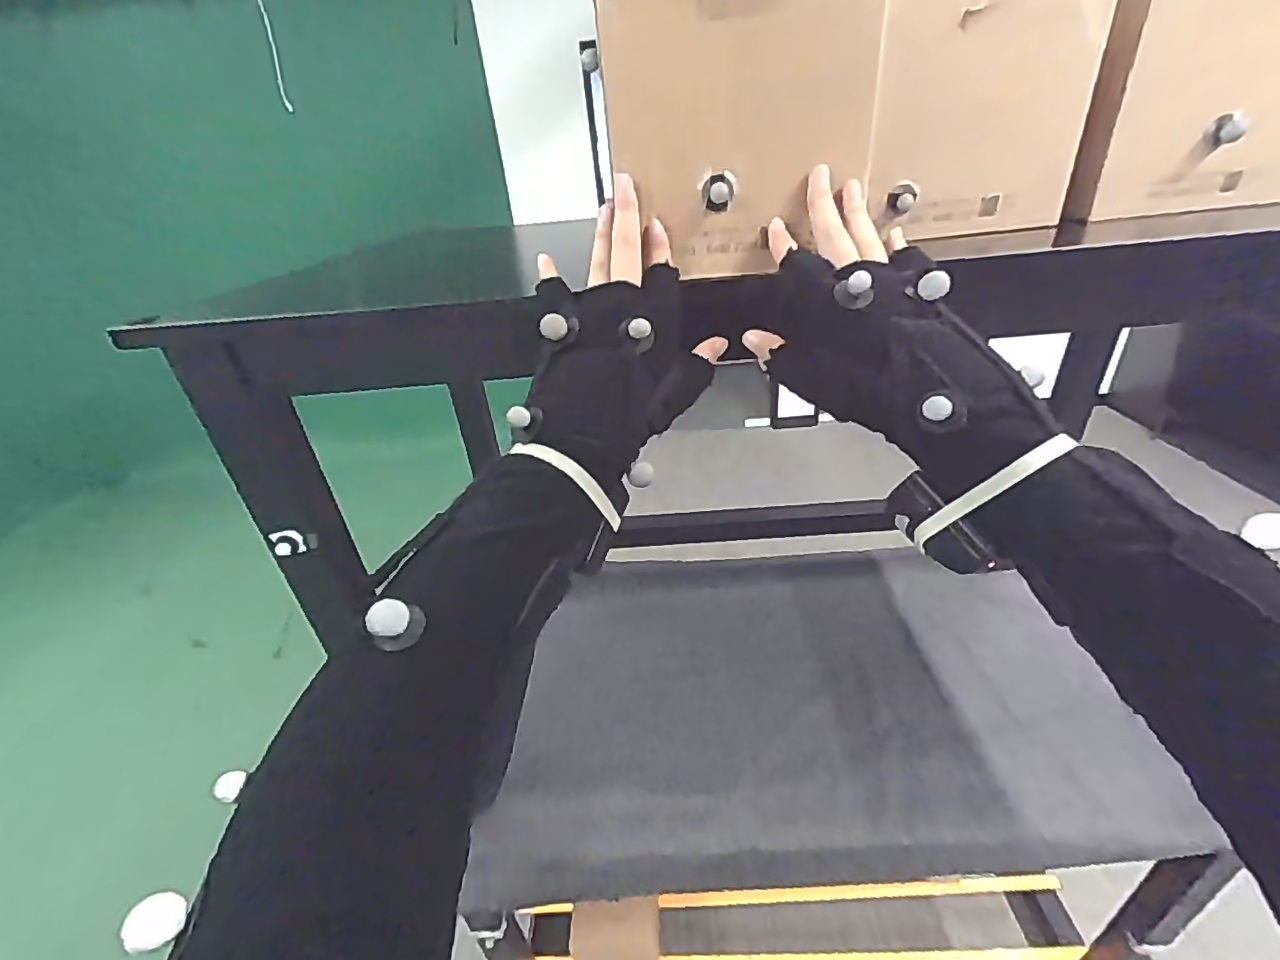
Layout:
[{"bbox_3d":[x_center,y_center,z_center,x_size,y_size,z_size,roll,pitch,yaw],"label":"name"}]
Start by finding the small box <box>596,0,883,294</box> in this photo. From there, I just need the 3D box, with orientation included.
[{"bbox_3d":[0.064,-0.248,0.416,0.168,0.176,0.179,-4,31,4],"label":"small box"}]
